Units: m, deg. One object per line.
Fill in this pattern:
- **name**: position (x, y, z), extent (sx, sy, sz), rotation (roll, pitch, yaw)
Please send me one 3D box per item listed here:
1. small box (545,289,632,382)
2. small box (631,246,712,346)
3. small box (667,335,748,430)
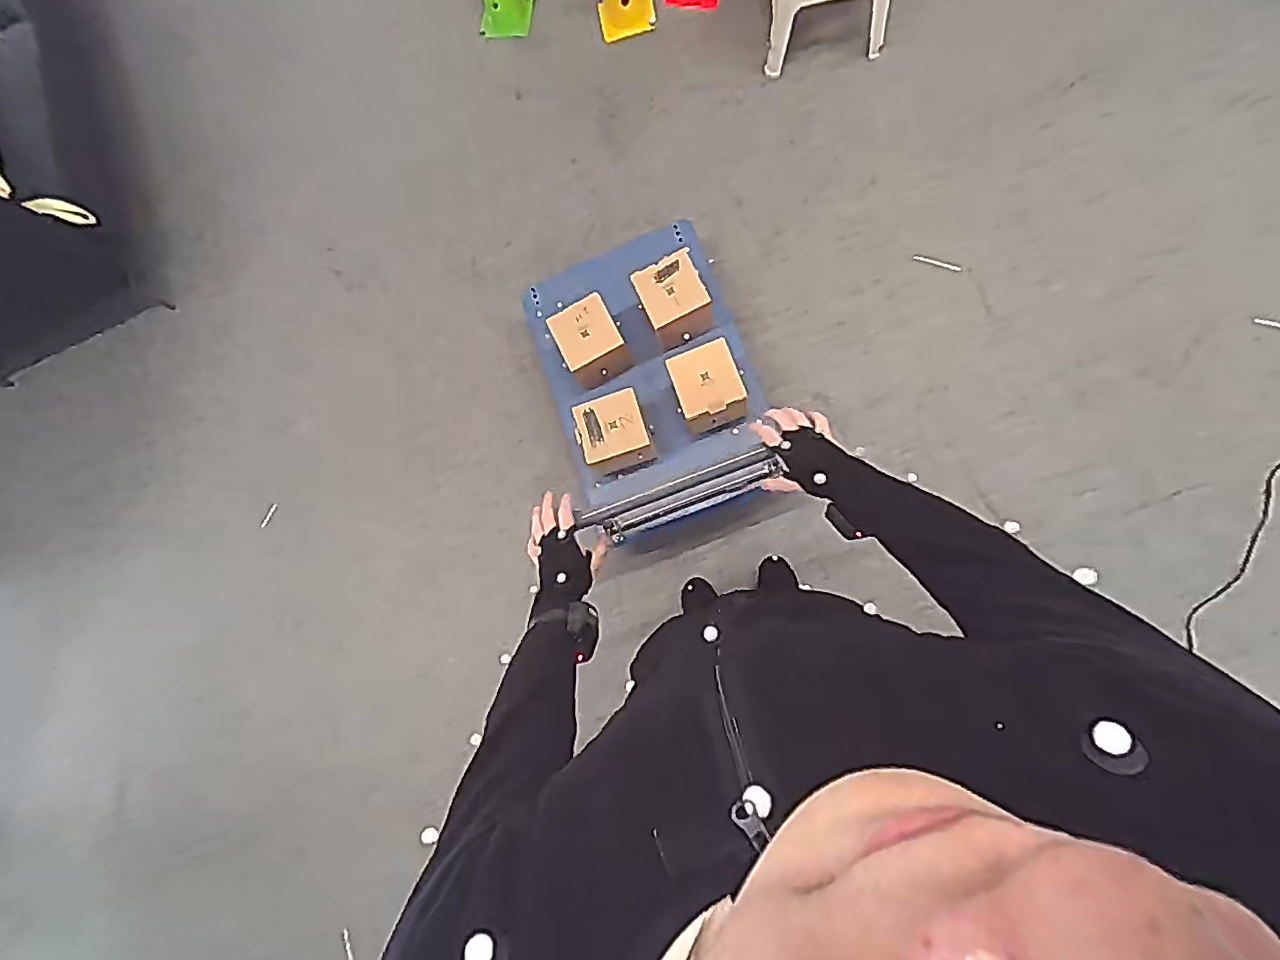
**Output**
- **small box**: position (-0.138, -0.397, 1.531), extent (0.168, 0.176, 0.179), rotation (-27, 78, 4)
- **small box**: position (0.093, -0.505, 1.507), extent (0.168, 0.176, 0.179), rotation (-25, 79, 6)
- **small box**: position (0.182, -0.256, 1.457), extent (0.168, 0.176, 0.179), rotation (-21, 79, 6)
